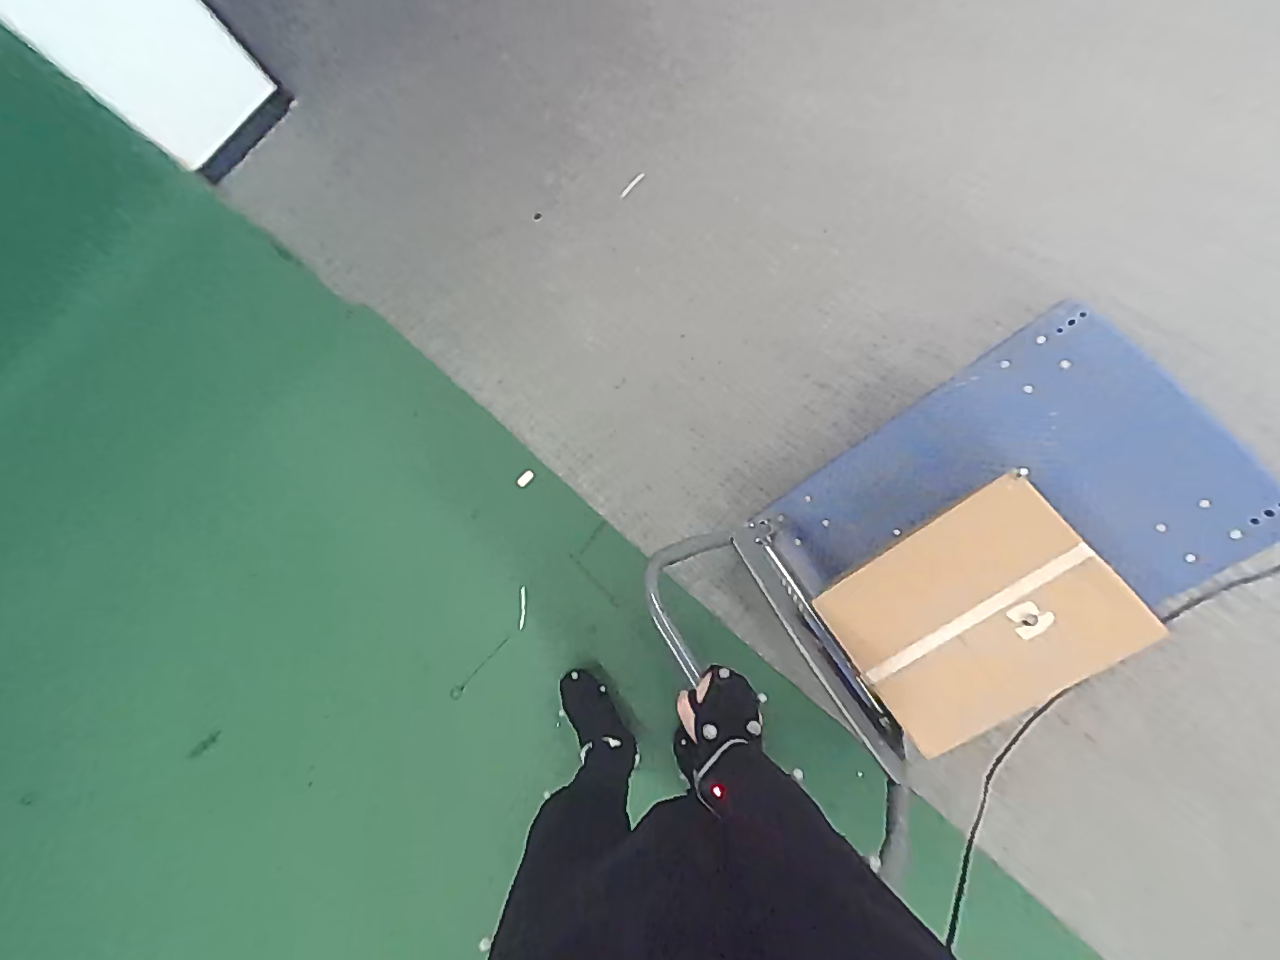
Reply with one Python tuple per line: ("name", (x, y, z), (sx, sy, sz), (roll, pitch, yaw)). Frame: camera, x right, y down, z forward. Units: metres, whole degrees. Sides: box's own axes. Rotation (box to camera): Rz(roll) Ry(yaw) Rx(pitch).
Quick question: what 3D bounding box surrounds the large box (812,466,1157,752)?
("large box", (0.594, 0.231, 1.028), (0.408, 0.320, 0.320), (-38, 73, 14))
